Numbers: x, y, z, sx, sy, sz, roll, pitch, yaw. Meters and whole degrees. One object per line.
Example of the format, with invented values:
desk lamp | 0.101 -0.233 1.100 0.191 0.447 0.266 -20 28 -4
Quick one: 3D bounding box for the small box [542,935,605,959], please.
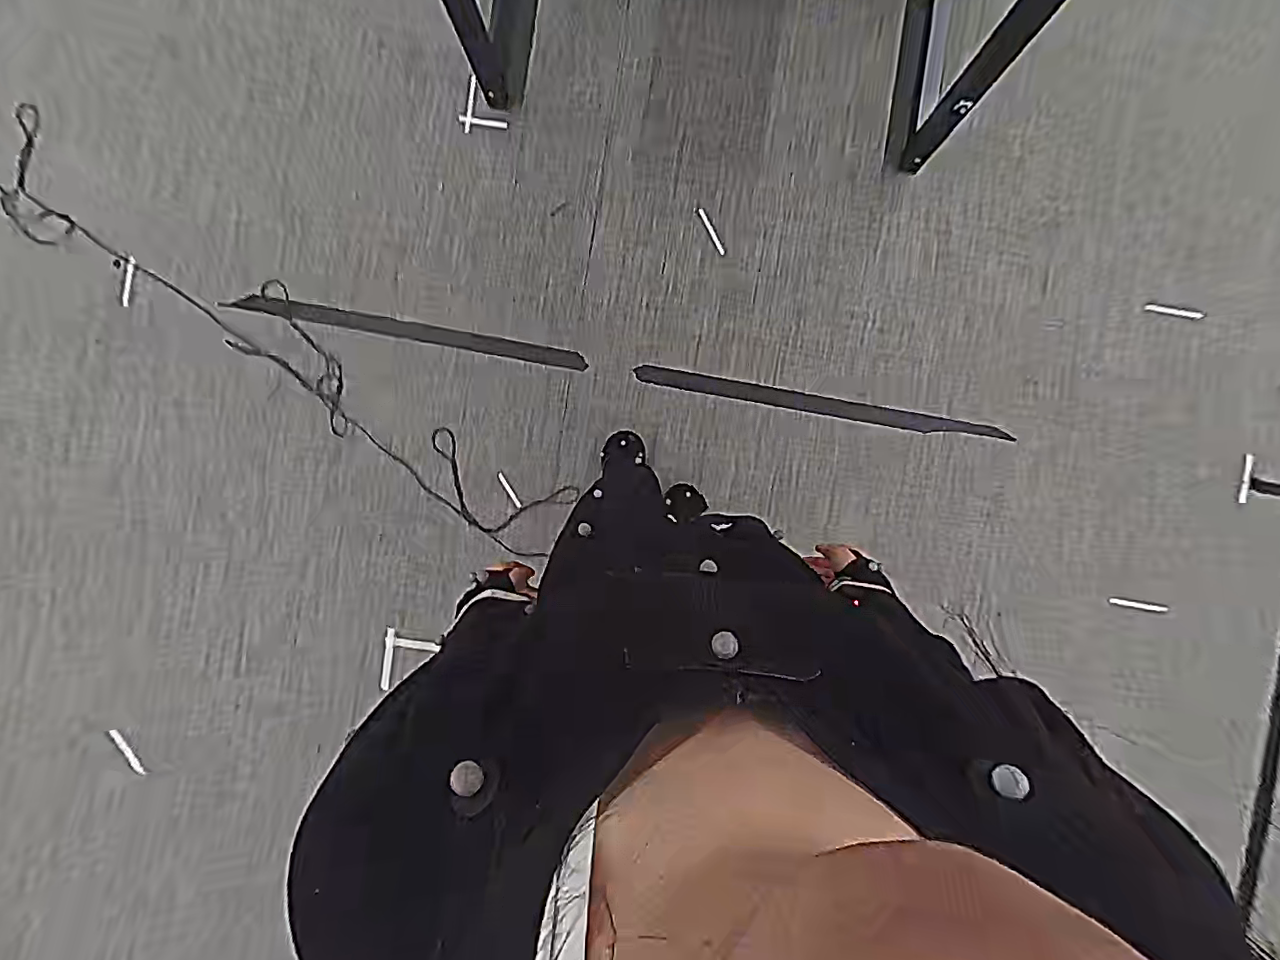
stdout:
small box | -0.180 1.349 1.414 0.168 0.176 0.179 0 90 0
